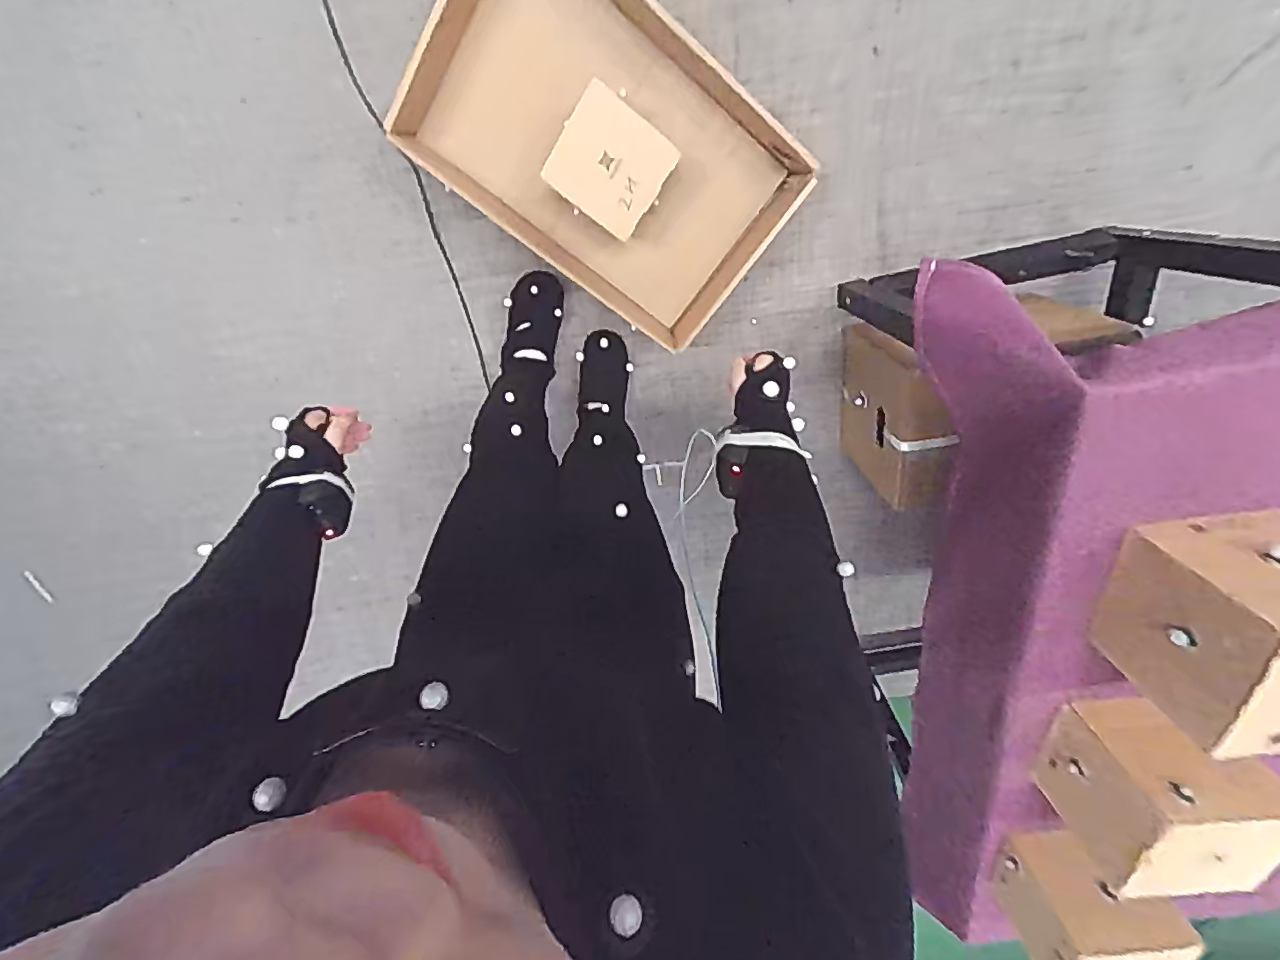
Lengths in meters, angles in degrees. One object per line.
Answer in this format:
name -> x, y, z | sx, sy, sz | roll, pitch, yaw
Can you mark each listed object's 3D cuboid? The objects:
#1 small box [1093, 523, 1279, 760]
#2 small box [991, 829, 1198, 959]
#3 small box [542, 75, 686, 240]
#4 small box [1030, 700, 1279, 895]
small box -> 0.636, 0.158, 0.571 | 0.168, 0.176, 0.179 | -7, 119, 3
small box -> 0.711, 0.692, 0.875 | 0.179, 0.176, 0.168 | -7, 119, 1
small box -> -0.043, -0.545, 0.934 | 0.179, 0.176, 0.168 | 33, 115, -17
small box -> 0.679, 0.413, 0.719 | 0.179, 0.176, 0.168 | -2, 119, 0
